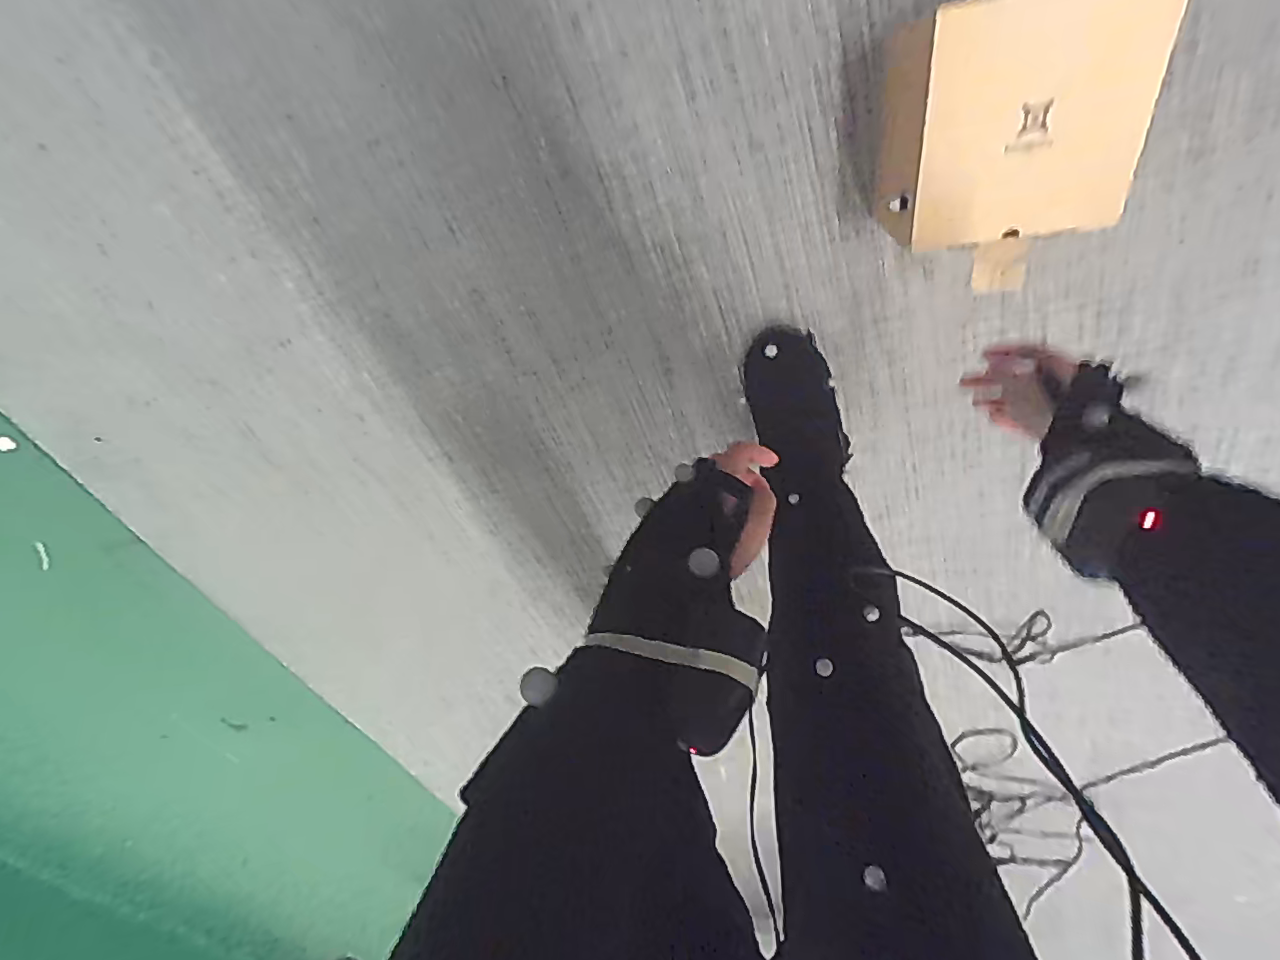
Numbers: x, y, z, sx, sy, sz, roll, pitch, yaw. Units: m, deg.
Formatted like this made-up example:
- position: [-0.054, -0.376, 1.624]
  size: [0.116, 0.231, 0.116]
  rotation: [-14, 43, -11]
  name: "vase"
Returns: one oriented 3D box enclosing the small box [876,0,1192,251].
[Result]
- position: [0.321, -0.326, 0.488]
  size: [0.168, 0.176, 0.179]
  rotation: [-3, 125, 12]
  name: "small box"
